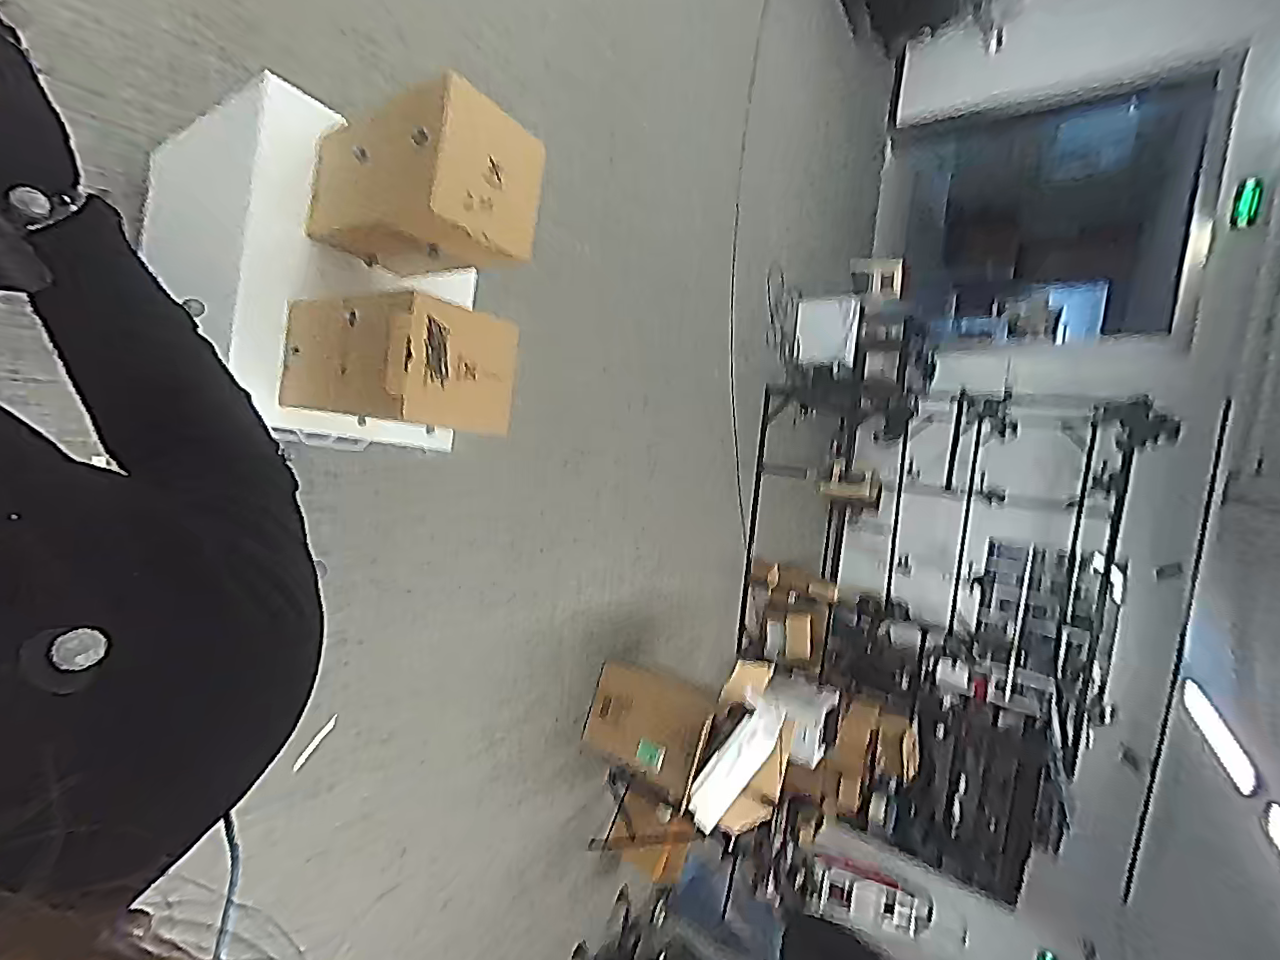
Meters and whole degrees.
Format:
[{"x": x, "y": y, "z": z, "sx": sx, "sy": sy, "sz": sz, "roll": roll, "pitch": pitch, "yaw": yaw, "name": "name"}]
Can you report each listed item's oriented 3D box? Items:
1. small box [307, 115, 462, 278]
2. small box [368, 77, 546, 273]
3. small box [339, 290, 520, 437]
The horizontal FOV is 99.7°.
[{"x": -0.394, "y": -0.437, "z": 0.869, "sx": 0.179, "sy": 0.176, "sz": 0.168, "roll": 9, "pitch": 90, "yaw": -57, "name": "small box"}, {"x": -0.262, "y": -0.415, "z": 0.773, "sx": 0.168, "sy": 0.176, "sz": 0.179, "roll": 8, "pitch": 91, "yaw": -55, "name": "small box"}, {"x": -0.303, "y": -0.158, "z": 0.778, "sx": 0.179, "sy": 0.176, "sz": 0.168, "roll": 4, "pitch": 94, "yaw": -56, "name": "small box"}]
